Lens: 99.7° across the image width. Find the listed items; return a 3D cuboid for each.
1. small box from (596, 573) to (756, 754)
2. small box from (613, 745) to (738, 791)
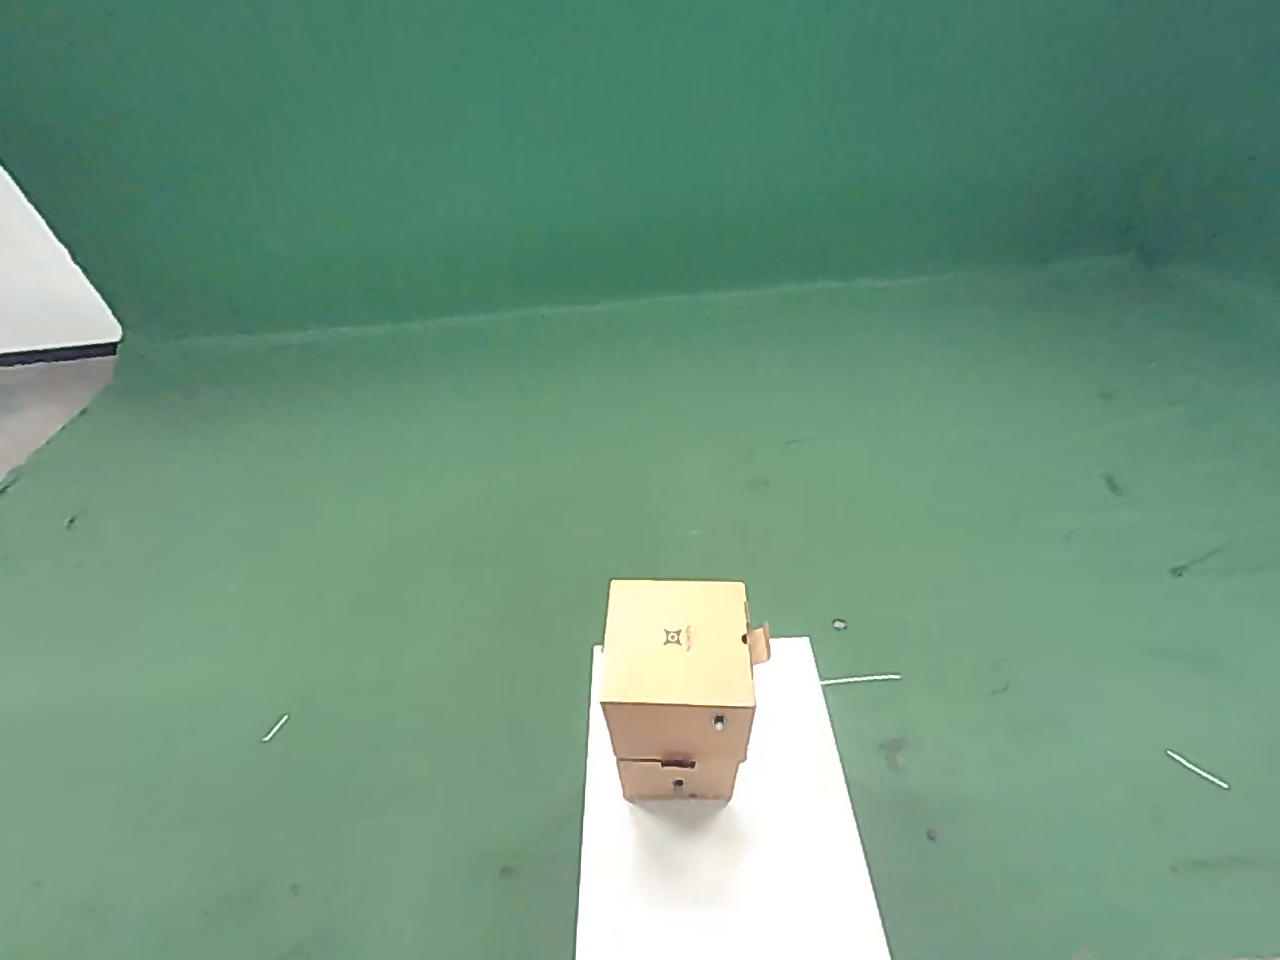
[{"bbox_3d":[0.047,0.236,0.693,0.179,0.176,0.168,0,44,4],"label":"small box"},{"bbox_3d":[0.053,0.351,0.809,0.168,0.176,0.179,-2,45,2],"label":"small box"}]
